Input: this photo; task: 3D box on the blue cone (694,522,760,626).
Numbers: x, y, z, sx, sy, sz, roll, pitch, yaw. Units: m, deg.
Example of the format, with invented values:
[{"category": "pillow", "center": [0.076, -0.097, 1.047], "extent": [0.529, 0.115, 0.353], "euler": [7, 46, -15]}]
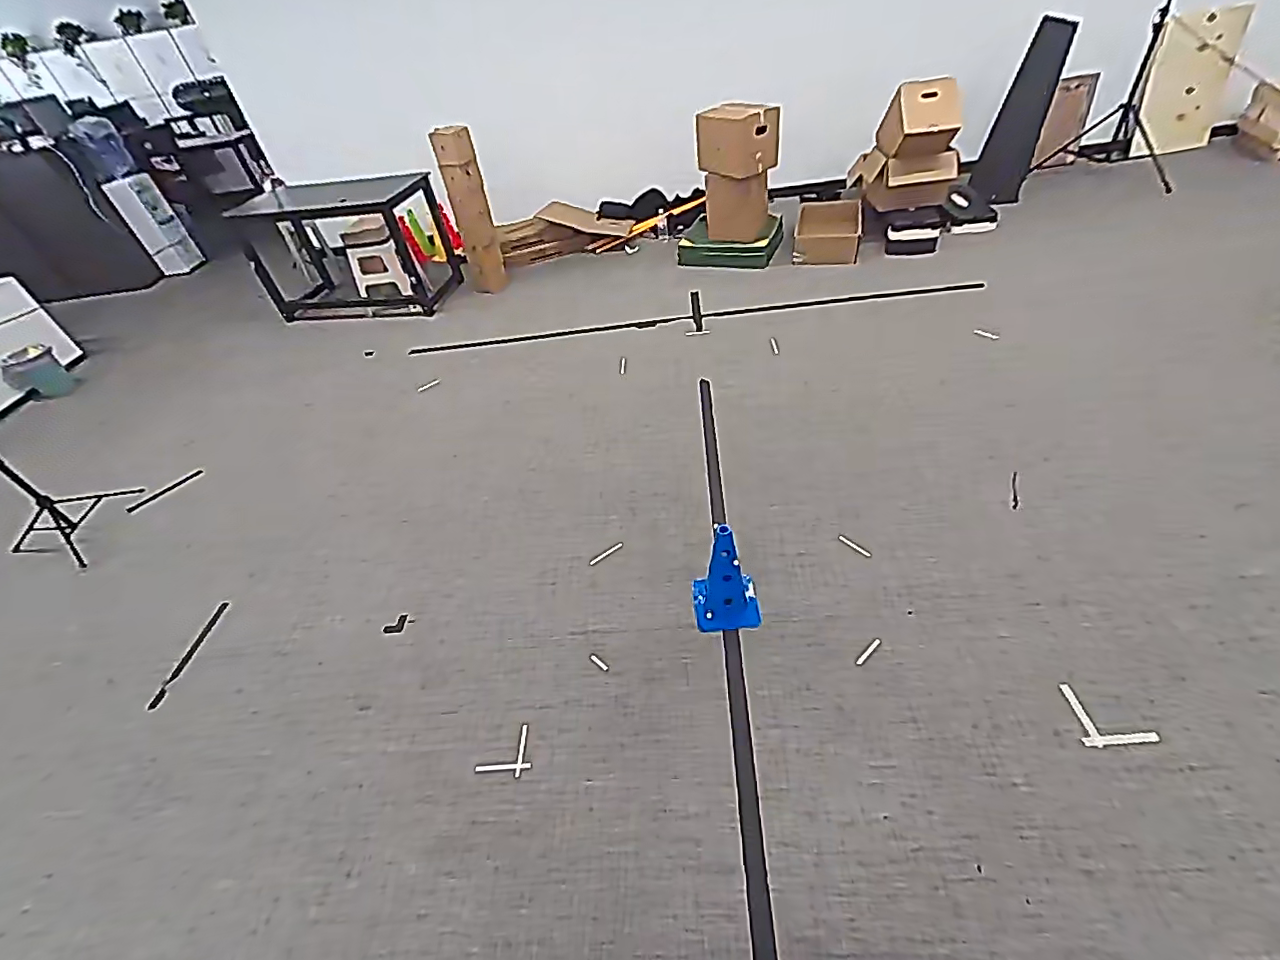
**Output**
[{"category": "blue cone", "center": [0.259, 0.256, 1.611], "extent": [0.192, 0.380, 0.193], "euler": [-8, 44, 1]}]
